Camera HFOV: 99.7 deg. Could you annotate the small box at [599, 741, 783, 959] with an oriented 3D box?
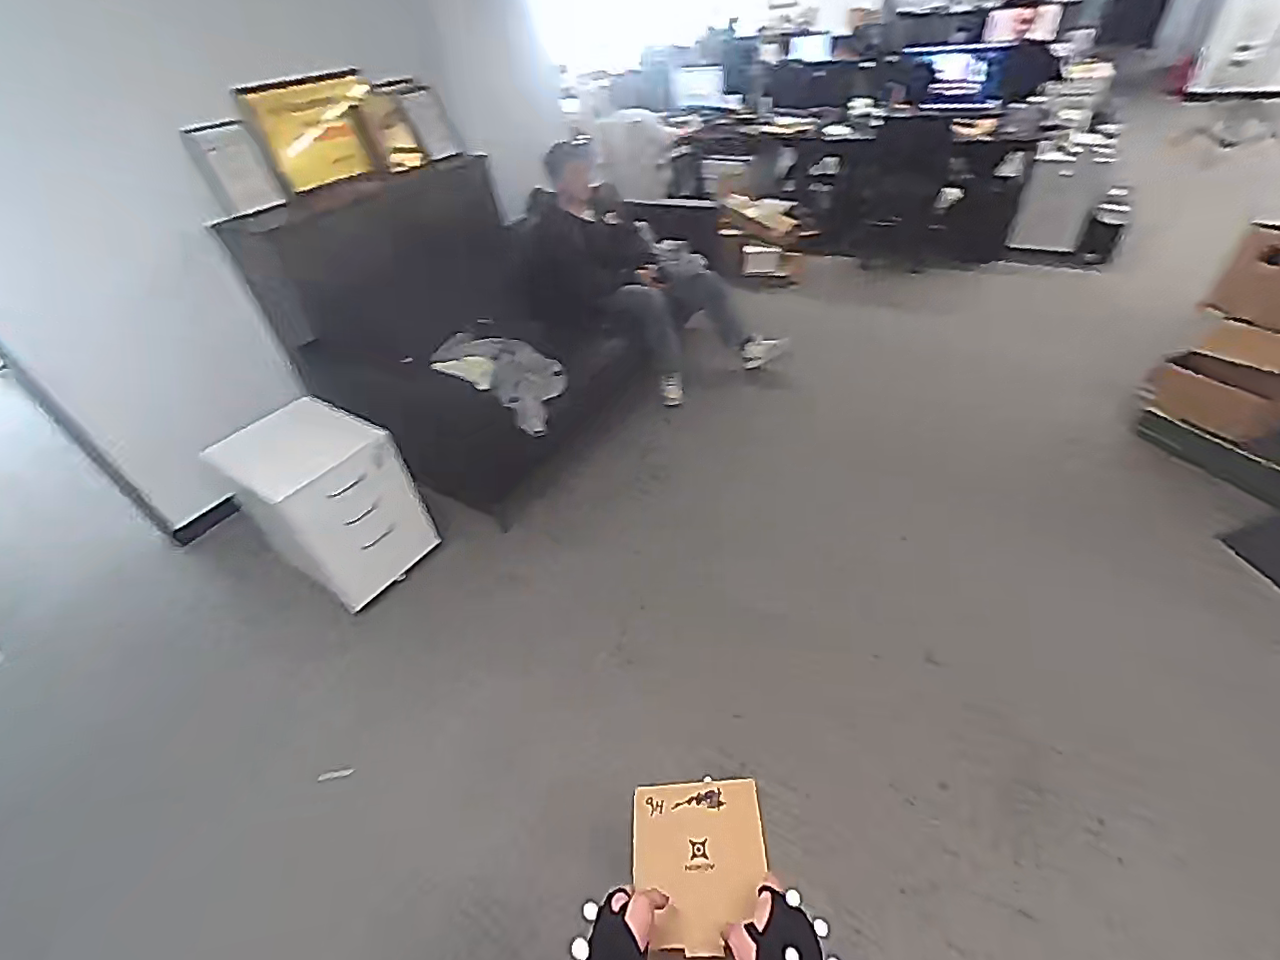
[{"bbox_3d":[0.074,0.505,0.729,0.179,0.176,0.168,-29,39,-15],"label":"small box"}]
